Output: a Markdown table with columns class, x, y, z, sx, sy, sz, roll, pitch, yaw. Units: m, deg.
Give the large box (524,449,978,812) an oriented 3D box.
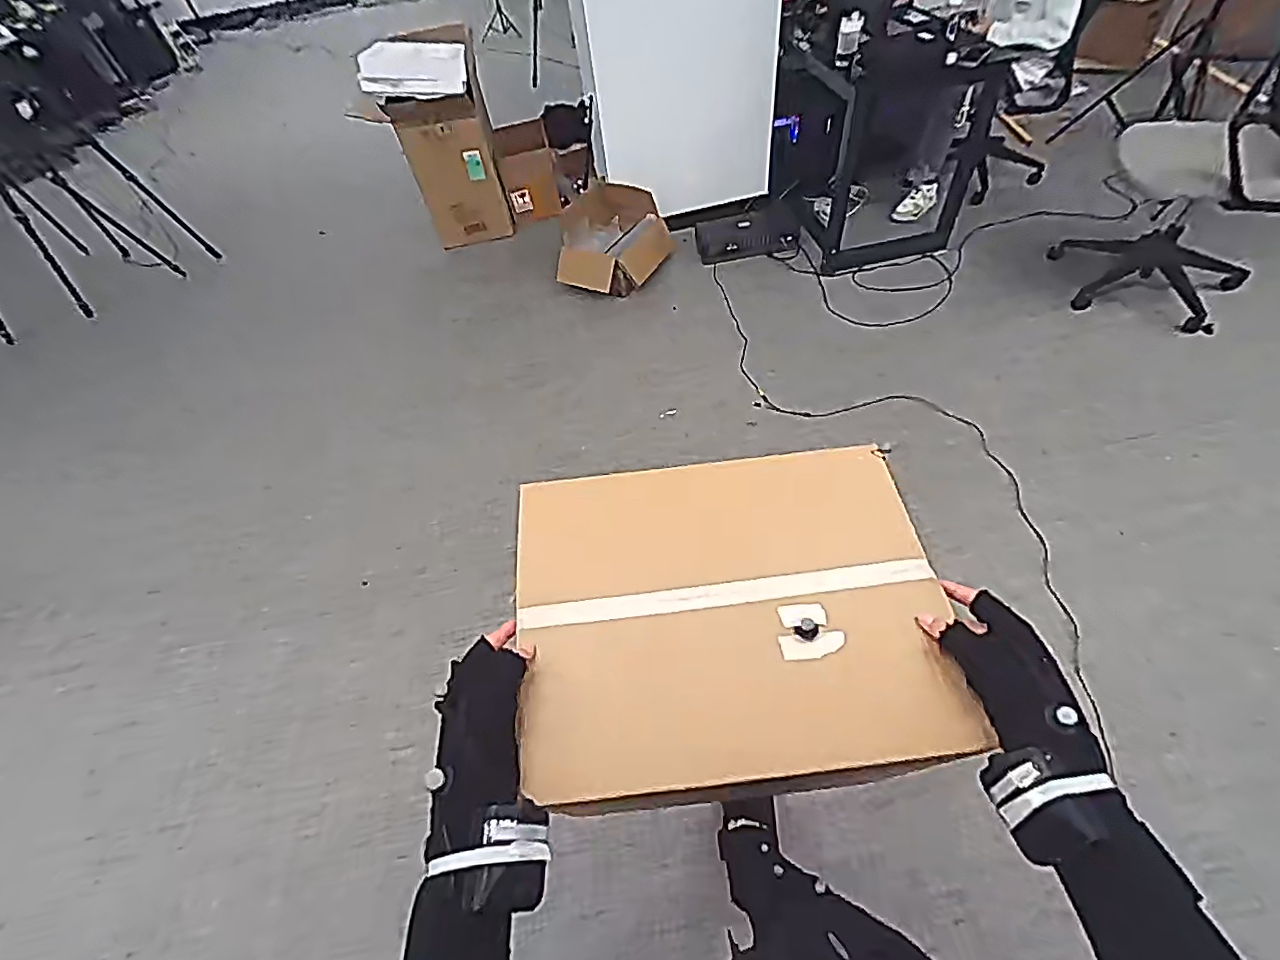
| class | x | y | z | sx | sy | sz | roll | pitch | yaw |
| --- | --- | --- | --- | --- | --- | --- | --- | --- | --- |
| large box | 0.088 | 0.197 | 0.665 | 0.408 | 0.320 | 0.320 | -7 | 57 | -1 |
